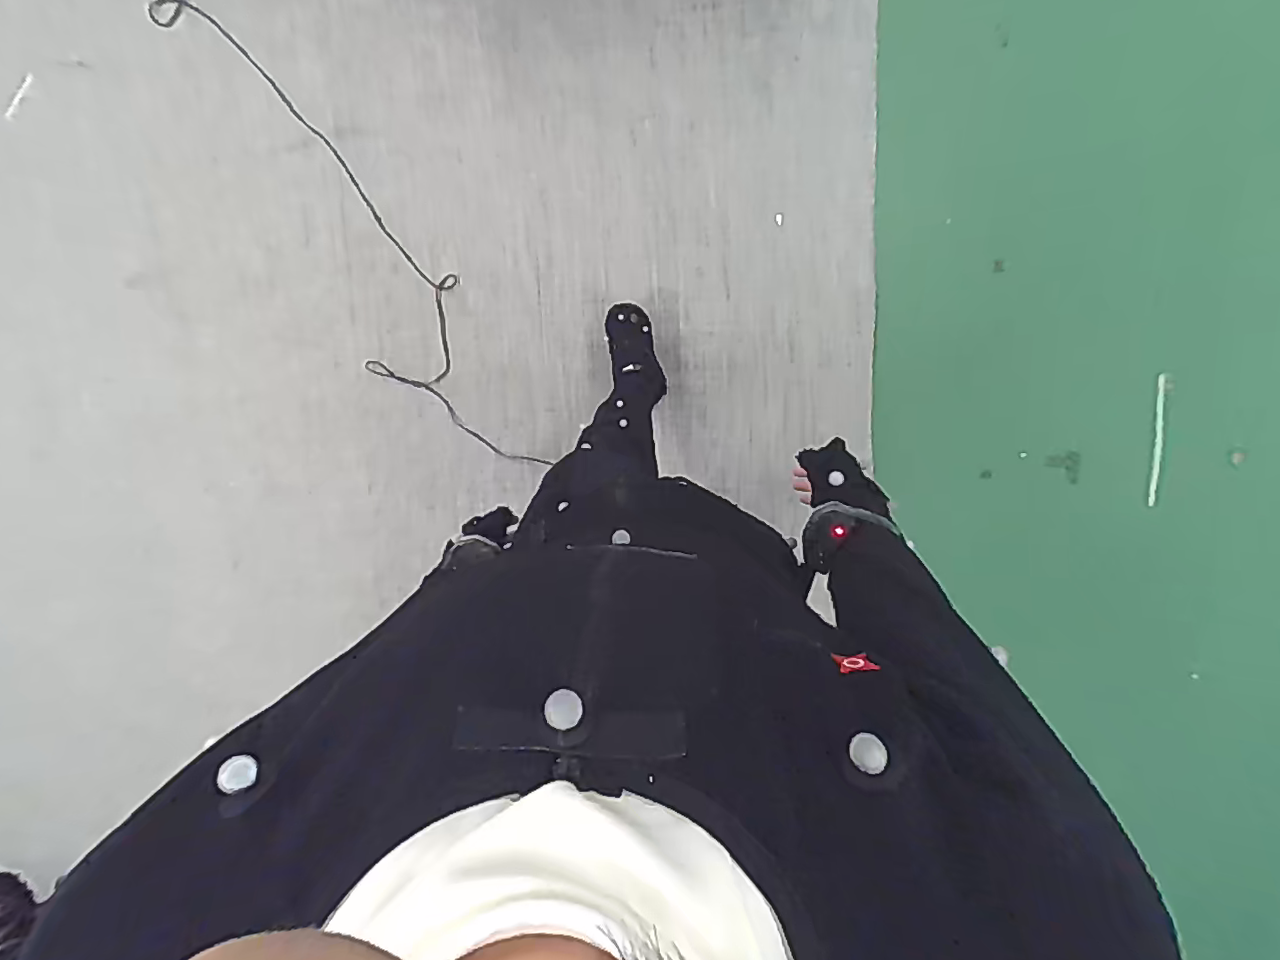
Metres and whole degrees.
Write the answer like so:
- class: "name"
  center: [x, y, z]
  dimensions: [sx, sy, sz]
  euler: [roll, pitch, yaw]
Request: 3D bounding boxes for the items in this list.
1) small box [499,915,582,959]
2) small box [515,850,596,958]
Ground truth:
- class: "small box"
  center: [-0.236, 1.166, 1.271]
  dimensions: [0.168, 0.176, 0.179]
  euler: [-7, 96, 5]
- class: "small box"
  center: [-0.221, 1.126, 1.446]
  dimensions: [0.179, 0.176, 0.168]
  euler: [-3, 98, 3]
